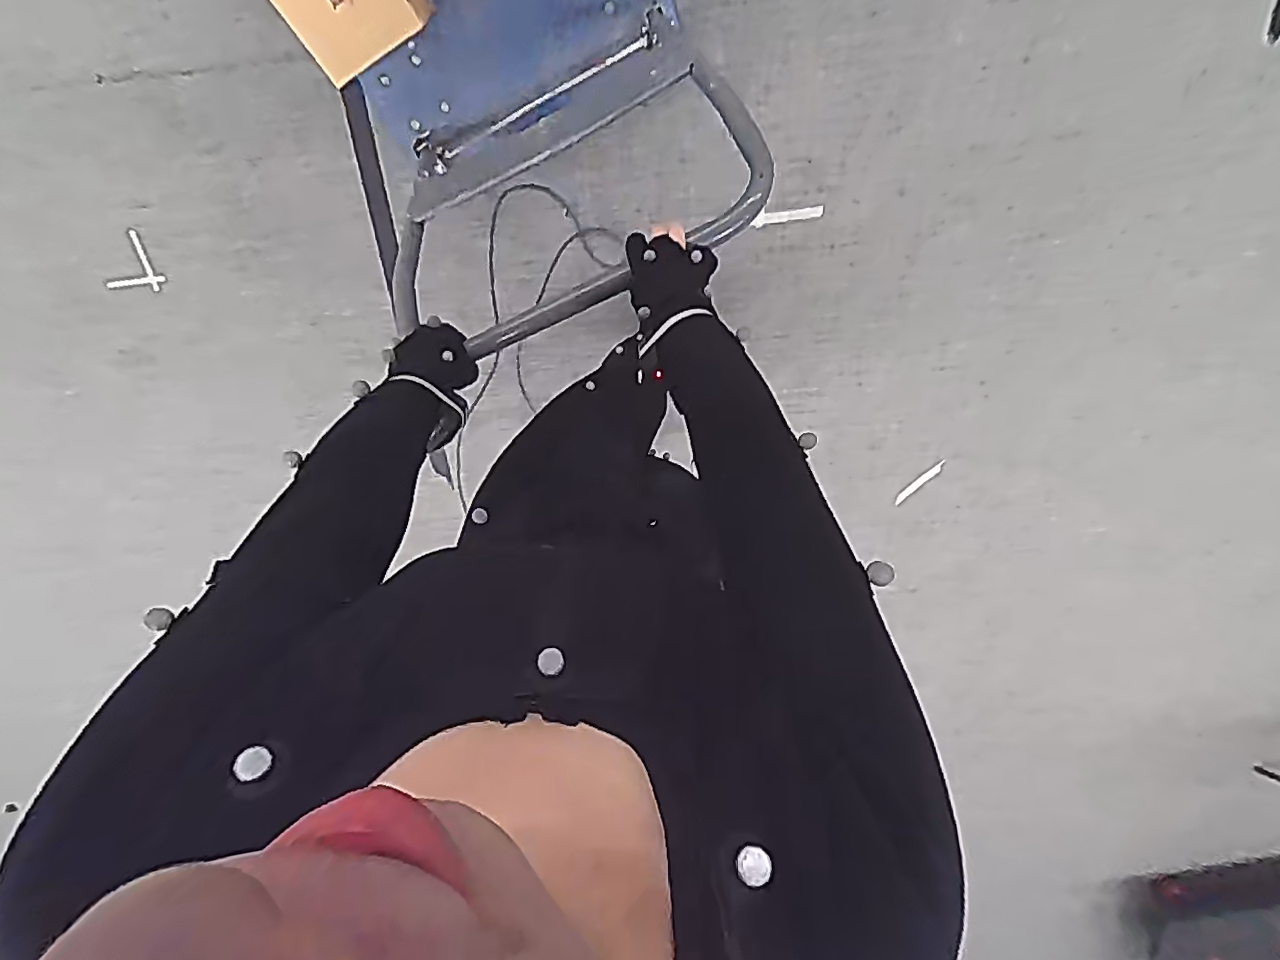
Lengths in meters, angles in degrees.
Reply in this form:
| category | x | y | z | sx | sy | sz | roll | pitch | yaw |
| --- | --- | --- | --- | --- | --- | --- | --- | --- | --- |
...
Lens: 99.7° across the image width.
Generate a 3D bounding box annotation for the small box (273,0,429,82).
| category | x | y | z | sx | sy | sz | roll | pitch | yaw |
| --- | --- | --- | --- | --- | --- | --- | --- | --- | --- |
| small box | -0.451 | -0.767 | 0.837 | 0.179 | 0.176 | 0.168 | -25 | 136 | 13 |
